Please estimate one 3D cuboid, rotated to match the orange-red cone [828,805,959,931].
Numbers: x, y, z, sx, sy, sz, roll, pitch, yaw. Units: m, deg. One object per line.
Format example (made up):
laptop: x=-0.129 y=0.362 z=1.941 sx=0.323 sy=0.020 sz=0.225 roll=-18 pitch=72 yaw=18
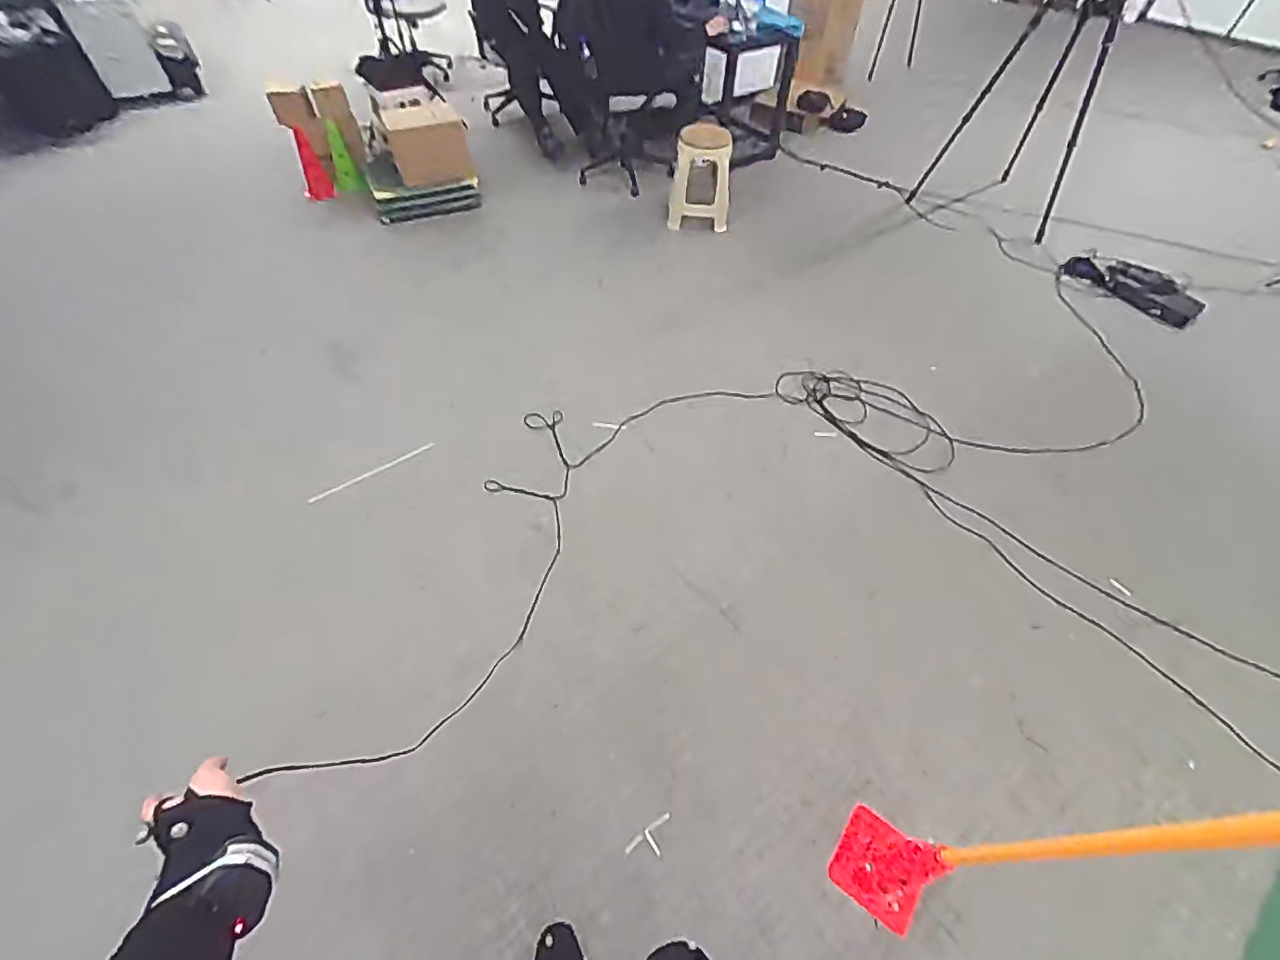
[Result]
orange-red cone: x=0.587 y=0.830 z=1.182 sx=0.198 sy=0.360 sz=0.199 roll=34 pitch=57 yaw=21
